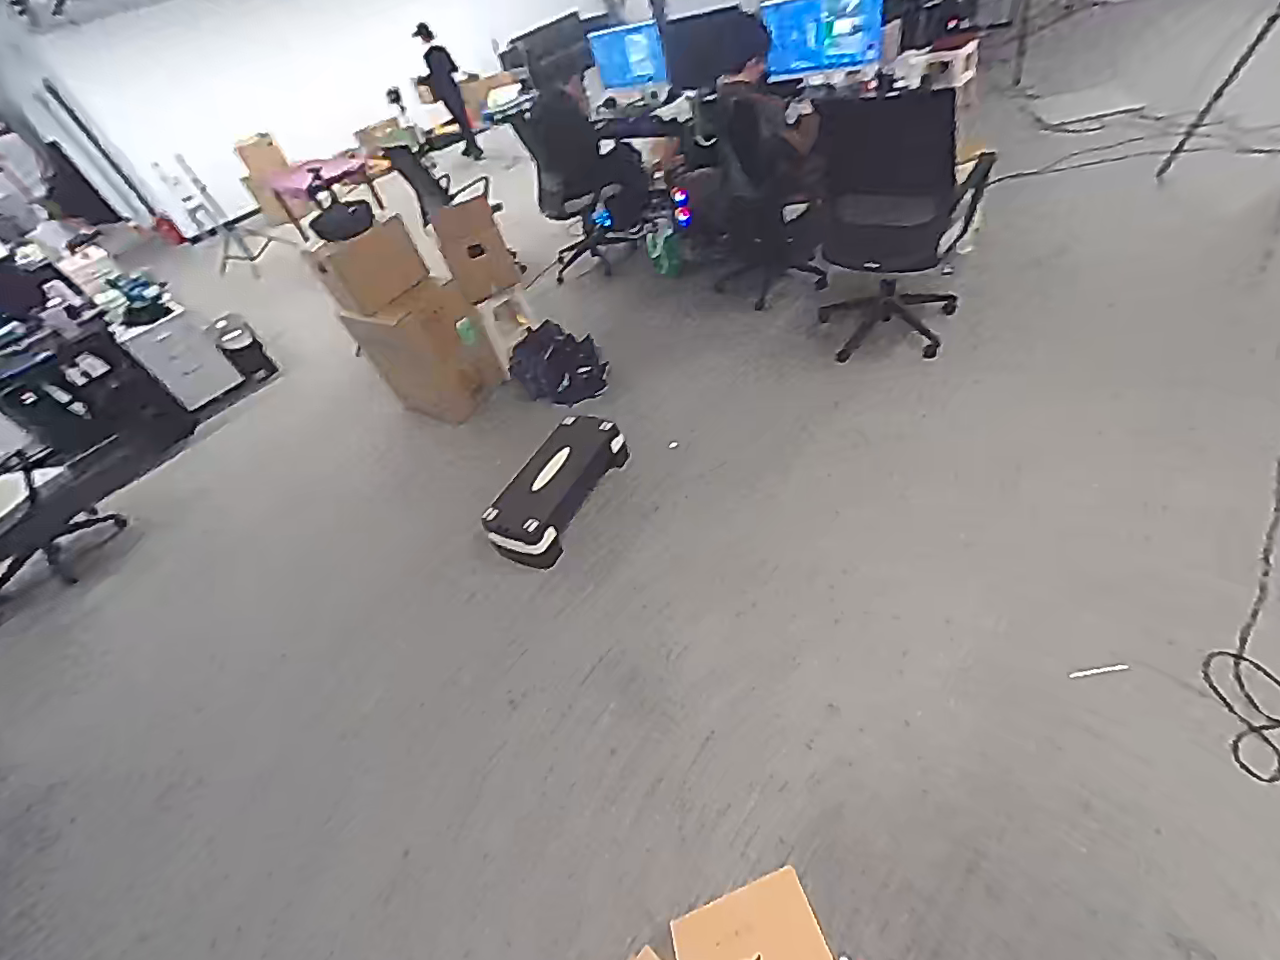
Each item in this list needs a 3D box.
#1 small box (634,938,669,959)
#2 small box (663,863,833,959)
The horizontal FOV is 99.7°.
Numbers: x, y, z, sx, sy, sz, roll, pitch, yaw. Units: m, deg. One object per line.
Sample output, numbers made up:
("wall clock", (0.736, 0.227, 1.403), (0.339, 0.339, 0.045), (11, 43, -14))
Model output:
("small box", (0.046, 1.074, 1.076), (0.179, 0.176, 0.168), (28, 61, 38))
("small box", (0.145, 0.586, 0.593), (0.168, 0.176, 0.179), (-25, 18, -1))
